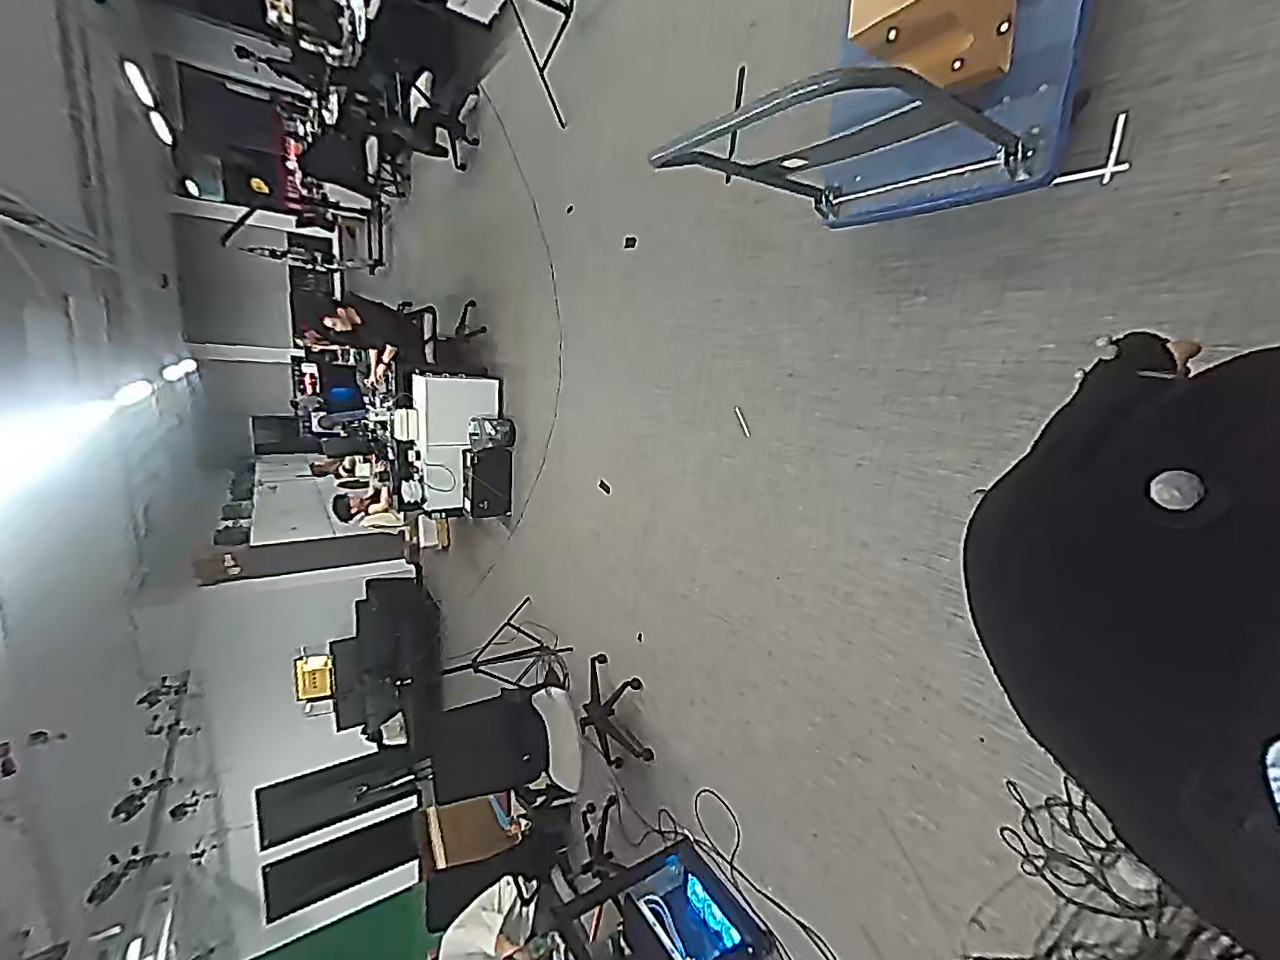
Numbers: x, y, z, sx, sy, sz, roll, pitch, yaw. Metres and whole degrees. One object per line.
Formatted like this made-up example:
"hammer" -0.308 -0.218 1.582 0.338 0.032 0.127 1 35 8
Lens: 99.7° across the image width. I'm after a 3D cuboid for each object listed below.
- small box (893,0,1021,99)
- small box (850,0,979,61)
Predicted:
"small box" 0.687 -0.971 1.175 0.179 0.176 0.168 15 106 54
"small box" 0.552 -0.986 1.079 0.179 0.176 0.168 15 106 54
